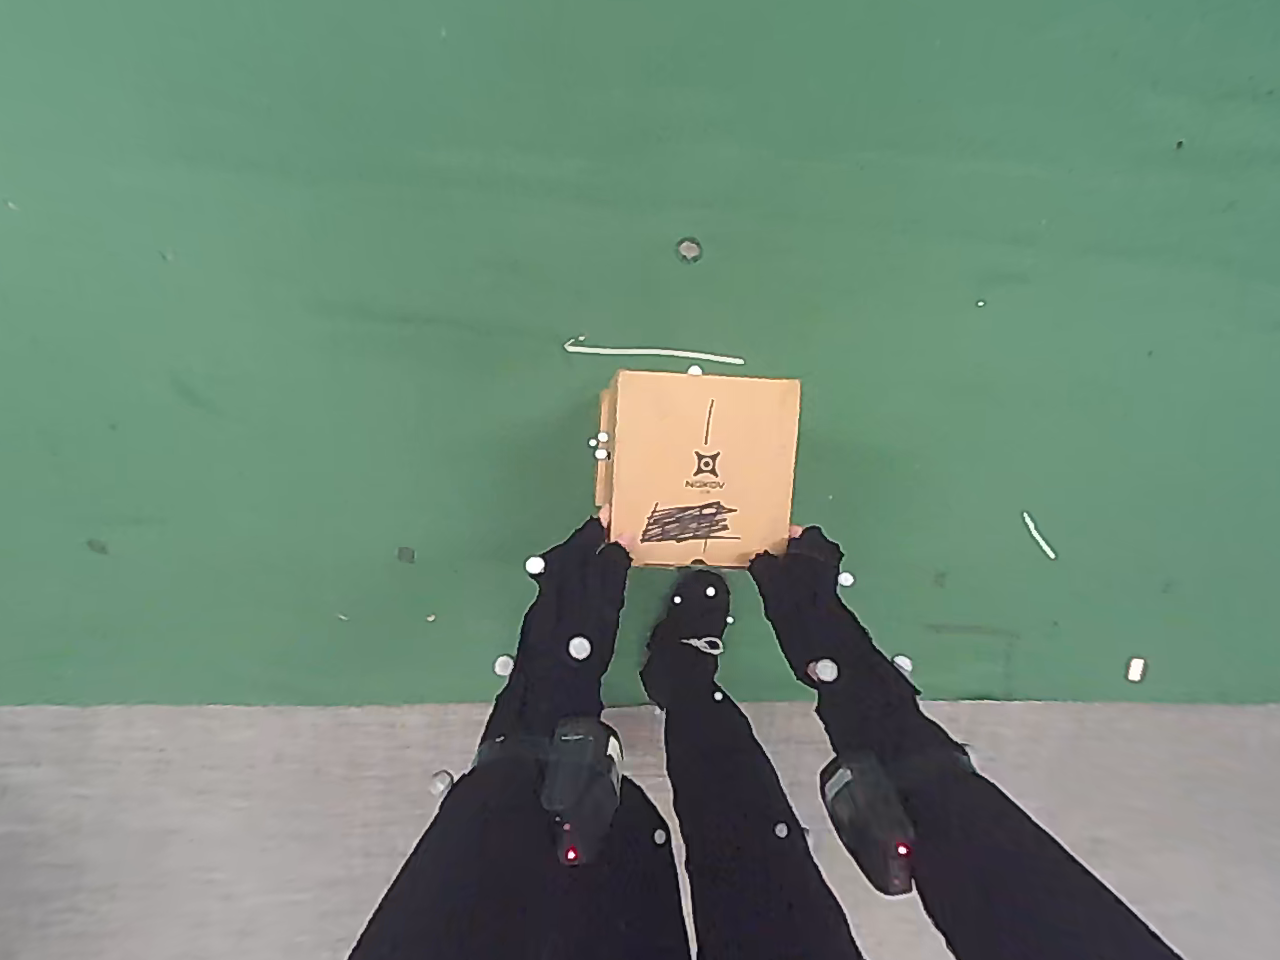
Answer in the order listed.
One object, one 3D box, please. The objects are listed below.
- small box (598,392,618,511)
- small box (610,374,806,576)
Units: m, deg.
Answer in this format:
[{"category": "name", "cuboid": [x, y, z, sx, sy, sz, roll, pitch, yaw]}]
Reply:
[{"category": "small box", "cuboid": [0.023, -0.042, 0.866, 0.168, 0.176, 0.179, 6, 97, -3]}, {"category": "small box", "cuboid": [0.055, -0.010, 0.560, 0.168, 0.176, 0.179, 3, 96, -5]}]
